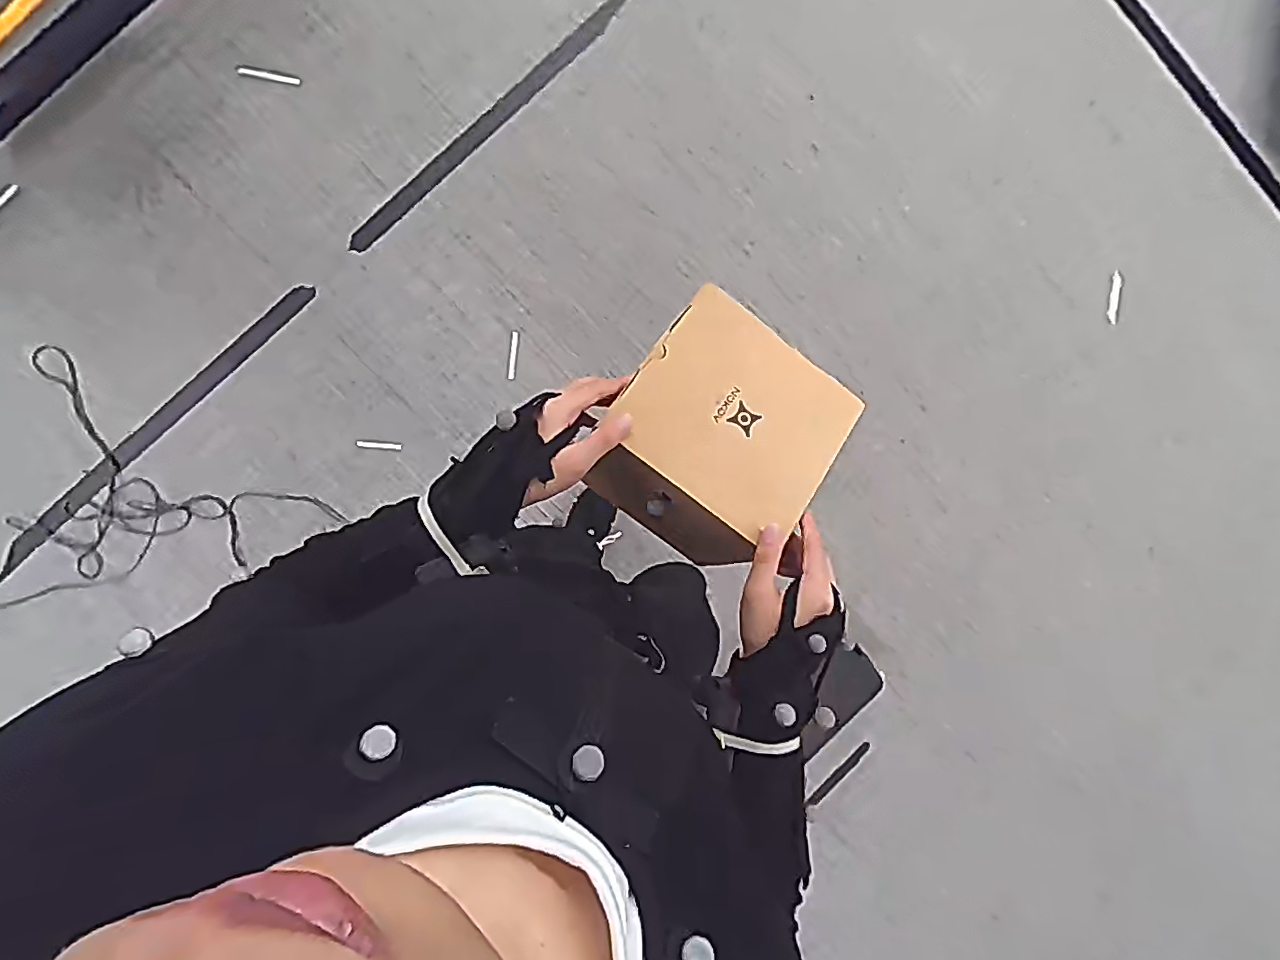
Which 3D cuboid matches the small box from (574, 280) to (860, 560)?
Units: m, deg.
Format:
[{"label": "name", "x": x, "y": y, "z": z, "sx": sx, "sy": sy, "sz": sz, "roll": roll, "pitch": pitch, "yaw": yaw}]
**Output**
[{"label": "small box", "x": 0.058, "y": -0.039, "z": 0.507, "sx": 0.179, "sy": 0.176, "sz": 0.168, "roll": 36, "pitch": 73, "yaw": -4}]
